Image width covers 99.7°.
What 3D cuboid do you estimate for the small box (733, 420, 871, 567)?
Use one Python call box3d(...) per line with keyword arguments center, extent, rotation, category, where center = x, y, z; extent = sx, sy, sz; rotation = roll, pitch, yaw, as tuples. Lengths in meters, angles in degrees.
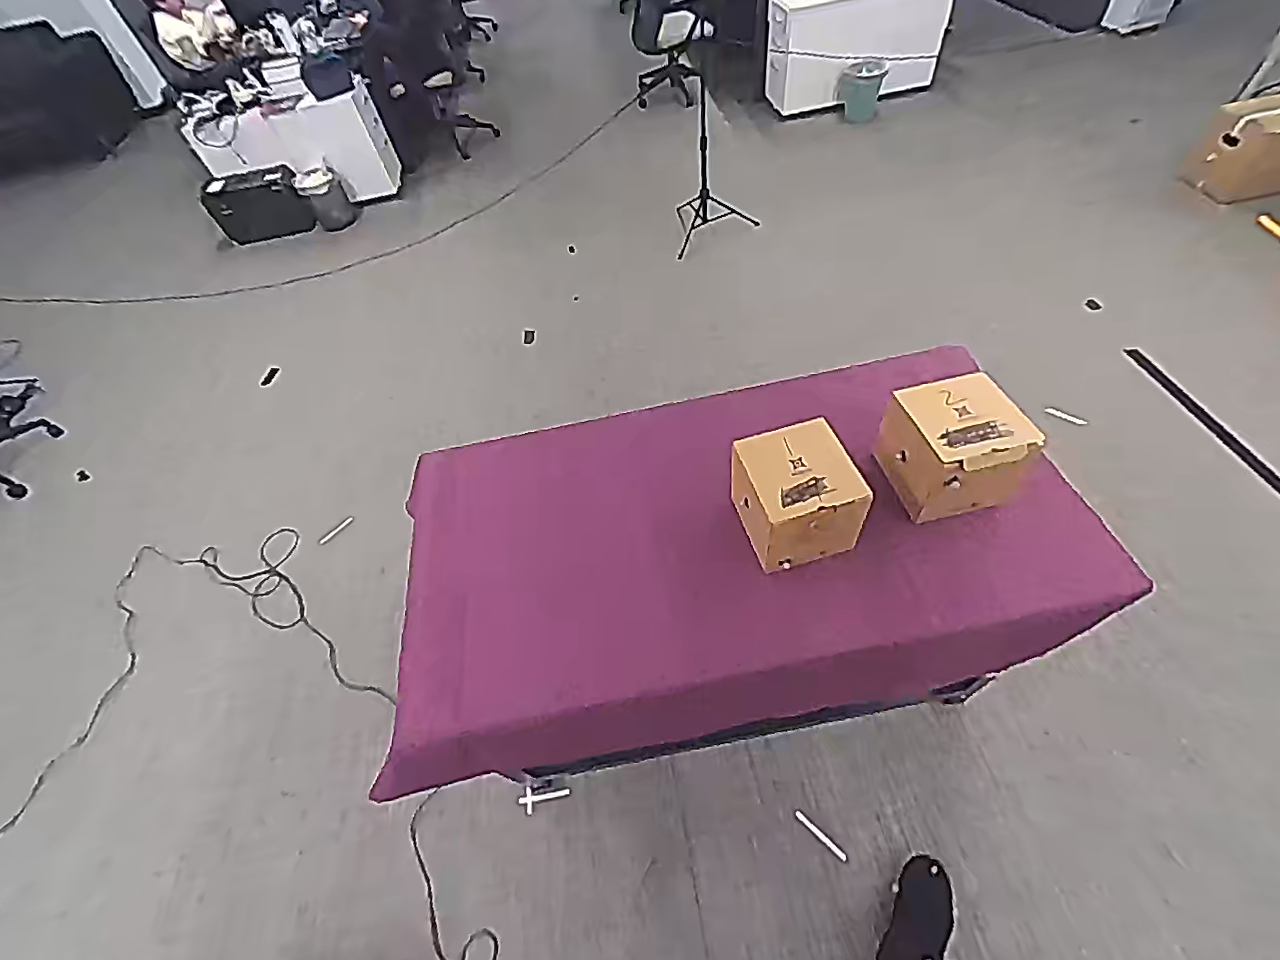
box3d(center=(0.266, 0.031, 0.930), extent=(0.168, 0.176, 0.179), rotation=(-15, 52, -3), category="small box")
